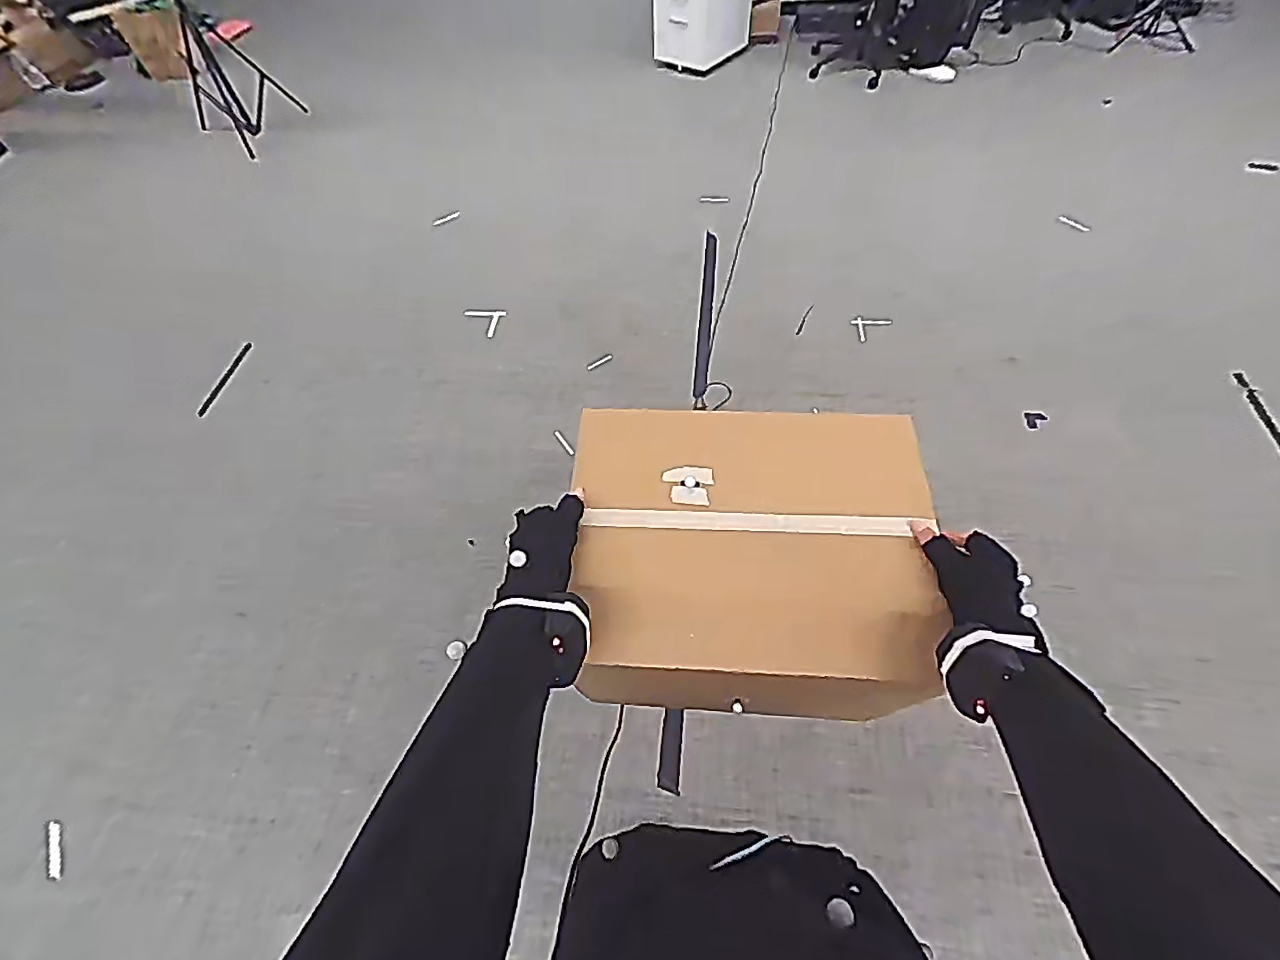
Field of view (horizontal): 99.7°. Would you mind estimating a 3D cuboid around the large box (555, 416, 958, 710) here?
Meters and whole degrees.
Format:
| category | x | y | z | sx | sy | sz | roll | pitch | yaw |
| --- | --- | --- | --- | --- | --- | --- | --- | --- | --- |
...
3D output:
| category | x | y | z | sx | sy | sz | roll | pitch | yaw |
| --- | --- | --- | --- | --- | --- | --- | --- | --- | --- |
| large box | 0.132 | 0.125 | 0.737 | 0.408 | 0.320 | 0.320 | 1 | 59 | 6 |
